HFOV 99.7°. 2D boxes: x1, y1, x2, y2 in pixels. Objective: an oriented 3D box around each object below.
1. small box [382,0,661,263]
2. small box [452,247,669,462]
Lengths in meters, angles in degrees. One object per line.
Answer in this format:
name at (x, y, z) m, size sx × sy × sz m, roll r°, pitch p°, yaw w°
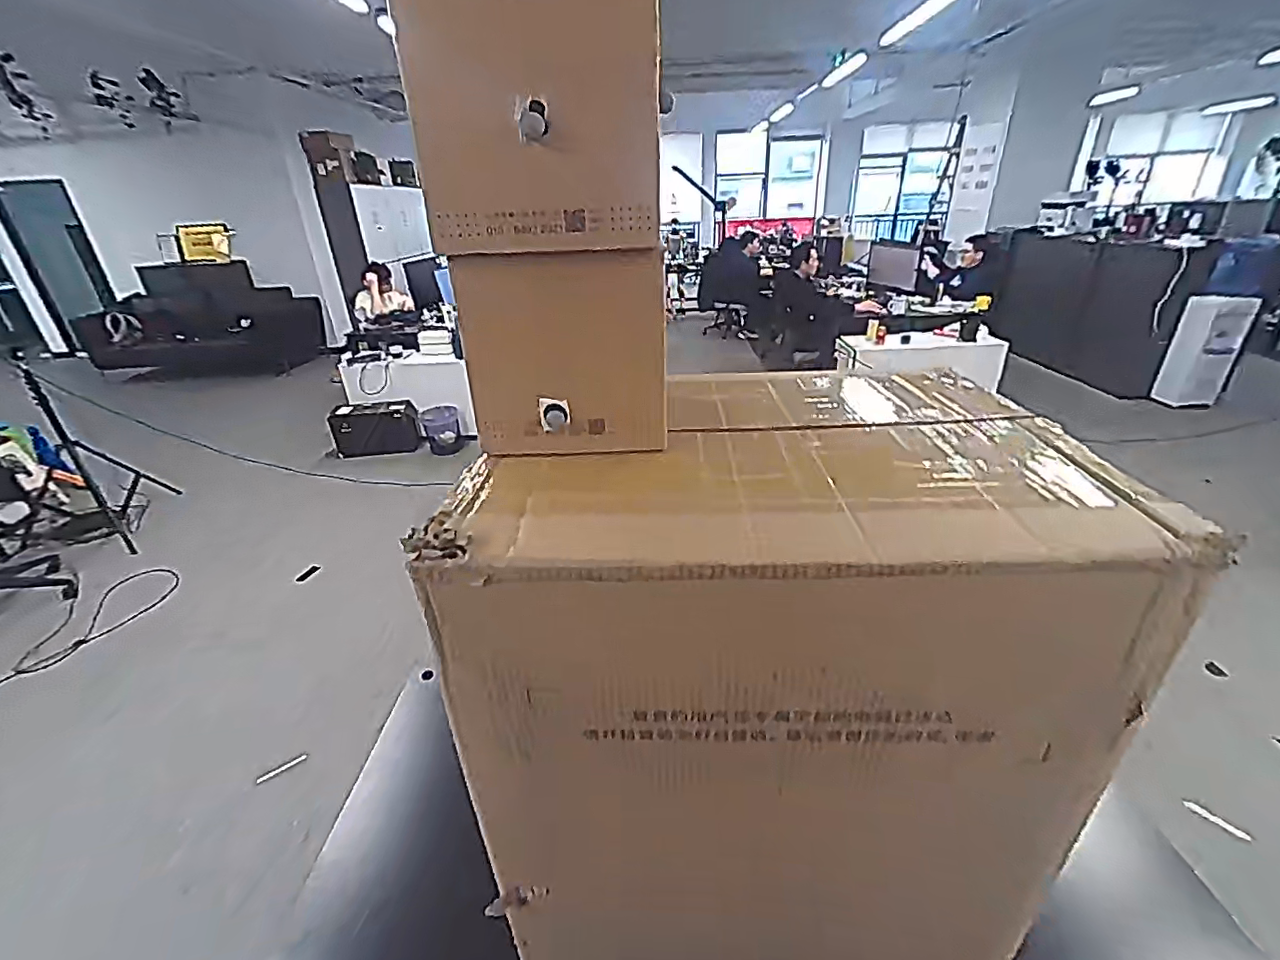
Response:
small box at (-0.071, -0.268, 0.430) m, size 0.168 × 0.176 × 0.179 m, roll -2°, pitch 27°, yaw 0°
small box at (-0.061, -0.128, 0.517) m, size 0.168 × 0.176 × 0.179 m, roll -4°, pitch 27°, yaw -1°
